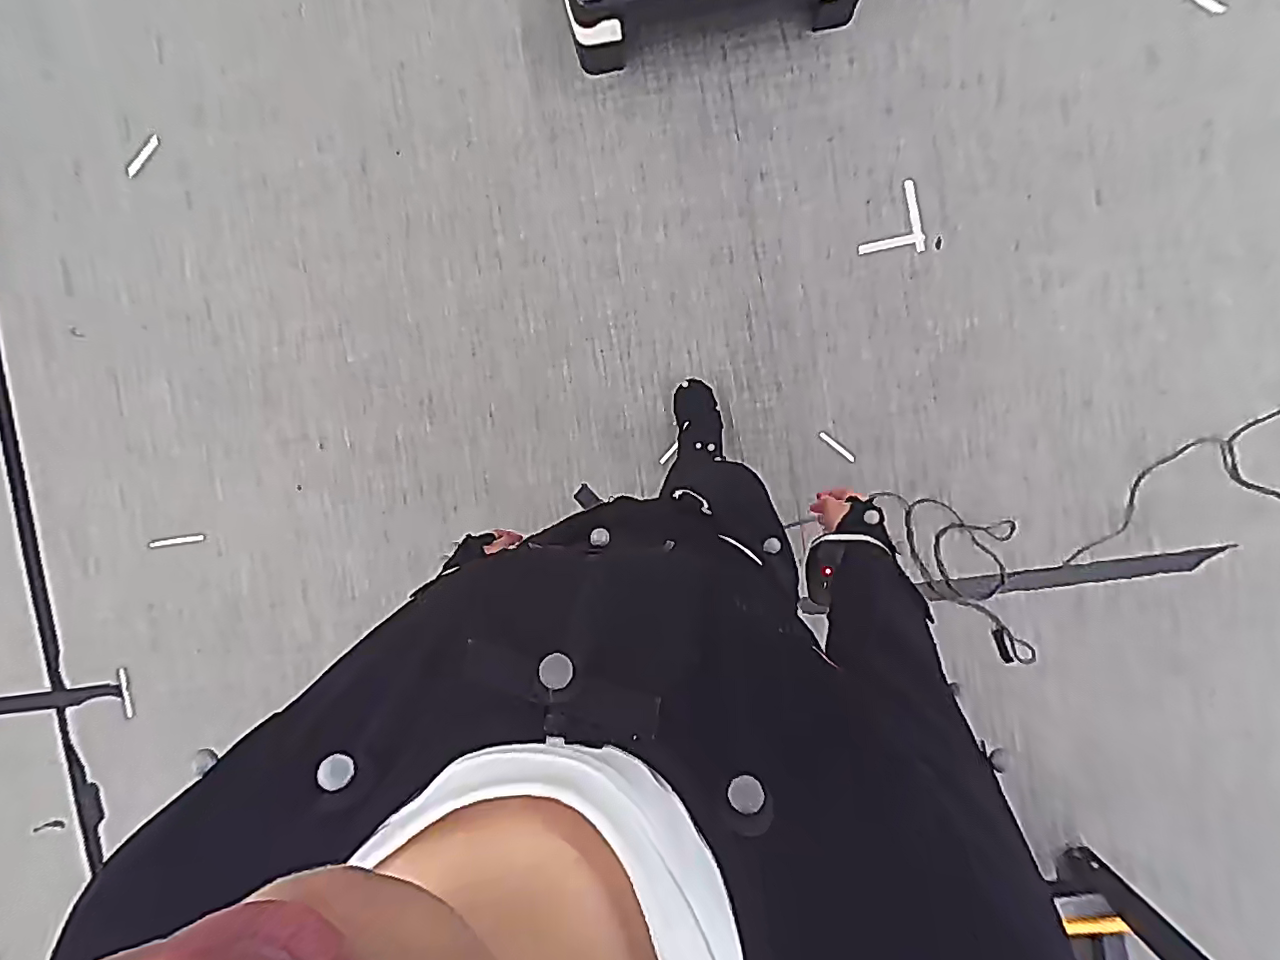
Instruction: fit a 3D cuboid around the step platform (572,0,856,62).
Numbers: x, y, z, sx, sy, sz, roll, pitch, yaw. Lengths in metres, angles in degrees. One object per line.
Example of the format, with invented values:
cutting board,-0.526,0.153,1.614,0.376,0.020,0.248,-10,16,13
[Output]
step platform,0.171,-1.208,1.219,0.684,0.204,0.286,-9,91,4
